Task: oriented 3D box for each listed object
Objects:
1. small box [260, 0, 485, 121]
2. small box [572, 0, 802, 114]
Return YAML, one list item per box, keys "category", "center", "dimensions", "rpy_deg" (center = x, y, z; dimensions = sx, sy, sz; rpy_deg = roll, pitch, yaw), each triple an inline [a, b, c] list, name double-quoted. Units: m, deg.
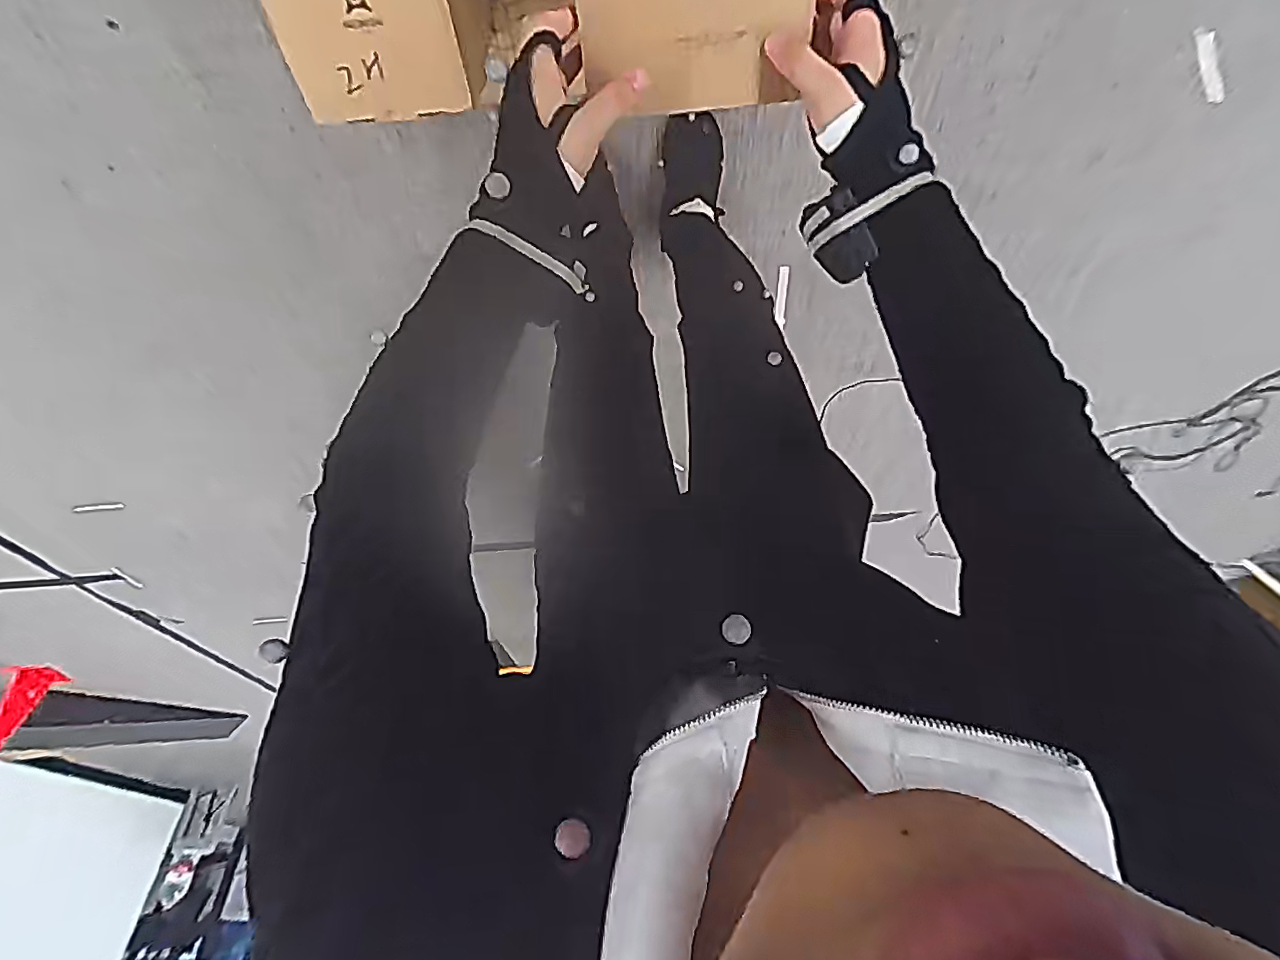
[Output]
- category: "small box"
  center: [-0.263, -0.490, 0.539]
  dimensions: [0.168, 0.176, 0.179]
  rpy_deg: [-5, 140, 0]
- category: "small box"
  center: [0.027, -0.412, 0.410]
  dimensions: [0.168, 0.176, 0.179]
  rpy_deg: [-5, 141, 2]
